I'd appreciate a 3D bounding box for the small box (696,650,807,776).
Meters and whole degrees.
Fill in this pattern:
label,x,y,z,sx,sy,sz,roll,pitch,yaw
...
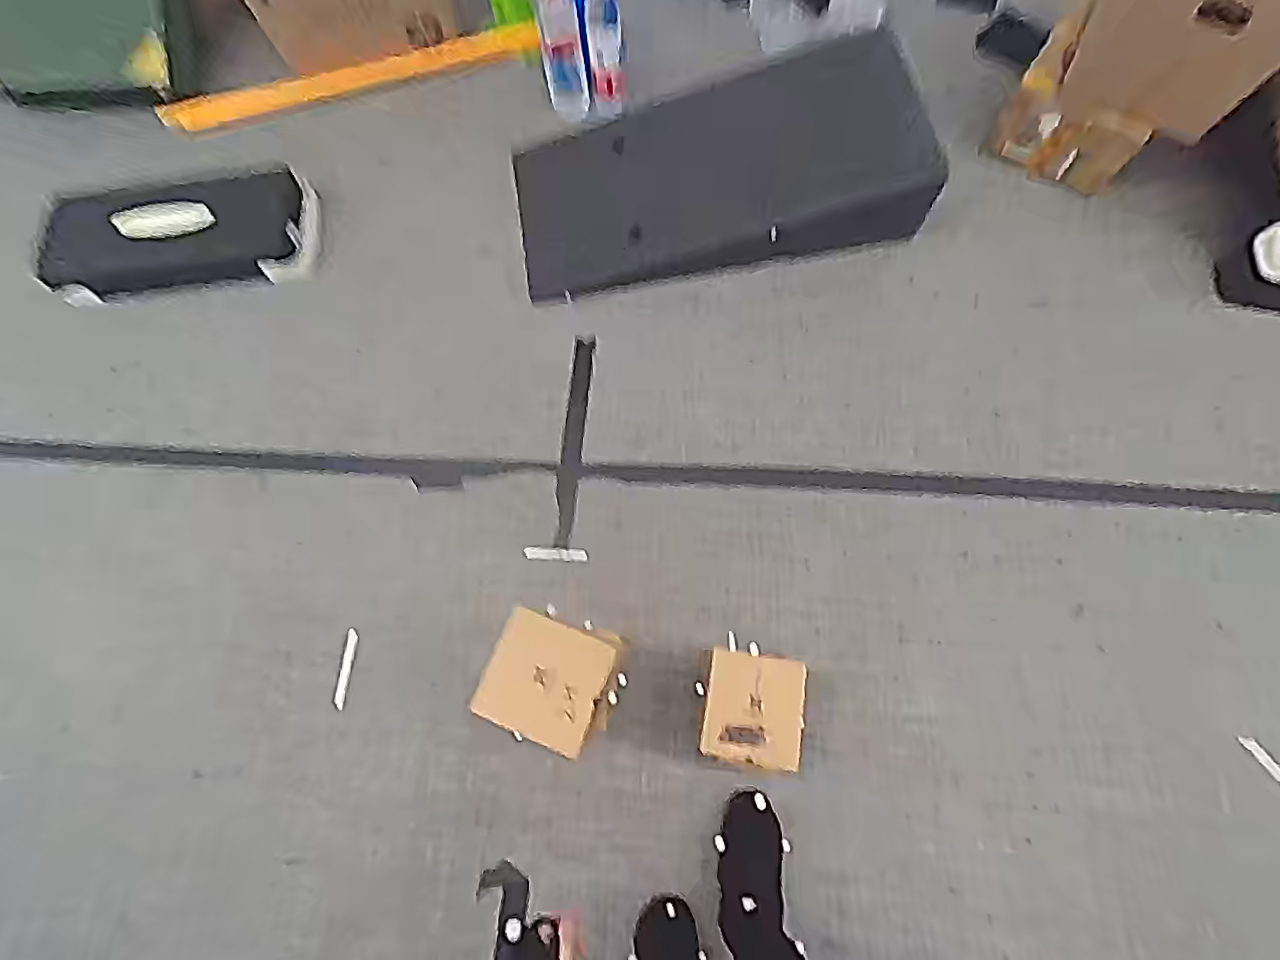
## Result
label,x,y,z,sx,sy,sz,roll,pitch,yaw
small box,0.199,0.420,1.002,0.168,0.176,0.179,10,73,5

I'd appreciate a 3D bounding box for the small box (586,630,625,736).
label,x,y,z,sx,sy,sz,roll,pitch,yaw
small box,-0.128,0.370,1.030,0.179,0.176,0.168,9,74,4

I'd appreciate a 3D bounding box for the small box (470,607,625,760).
label,x,y,z,sx,sy,sz,roll,pitch,yaw
small box,-0.136,0.320,0.872,0.179,0.176,0.168,21,76,9
